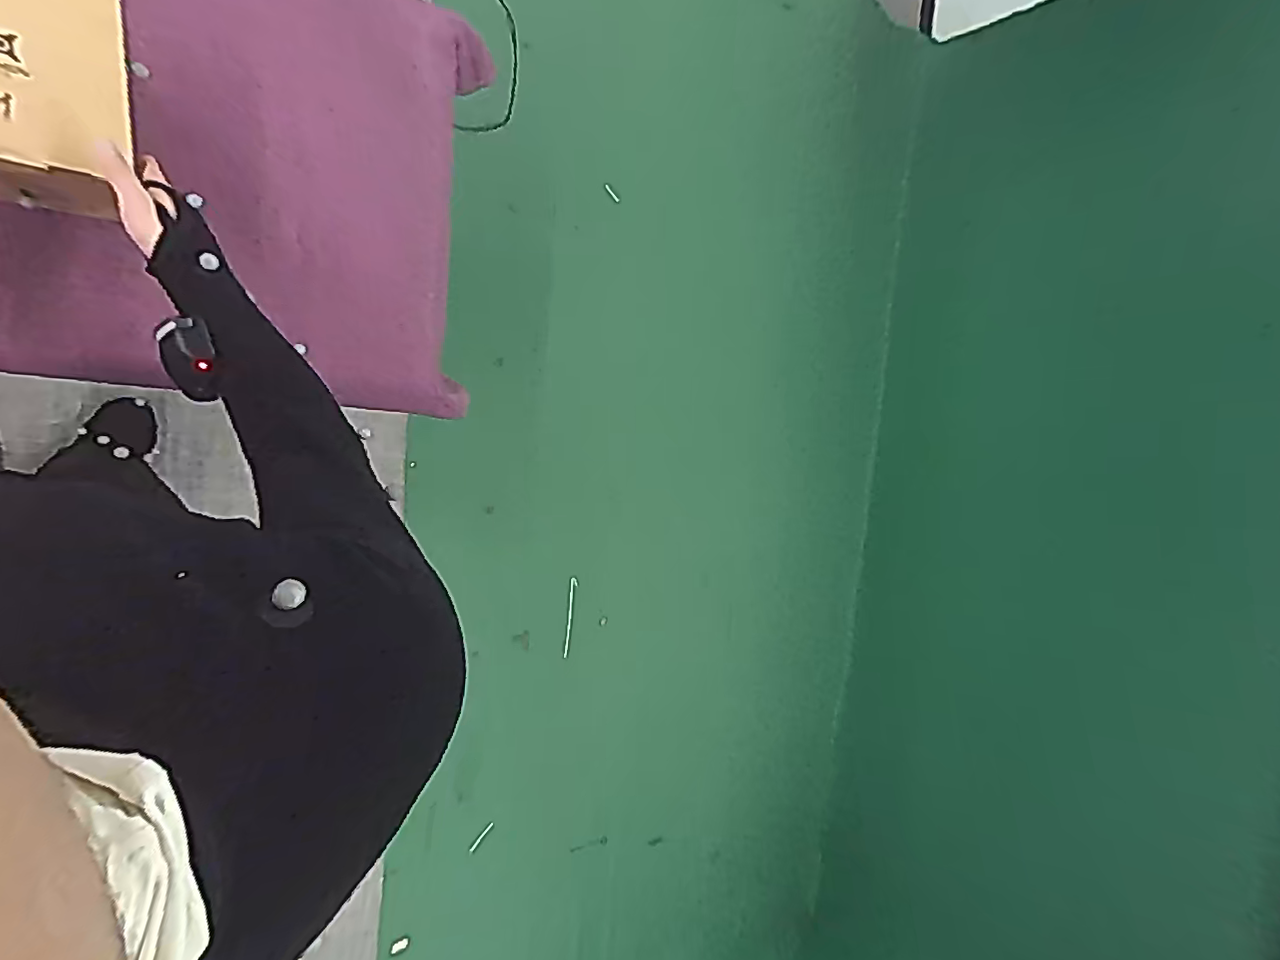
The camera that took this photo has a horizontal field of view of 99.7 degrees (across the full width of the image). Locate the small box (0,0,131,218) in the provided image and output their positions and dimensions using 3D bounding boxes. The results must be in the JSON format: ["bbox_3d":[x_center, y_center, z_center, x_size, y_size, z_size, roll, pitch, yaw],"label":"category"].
[{"bbox_3d":[-0.611,-0.380,0.521,0.168,0.176,0.179,-5,100,-42],"label":"small box"}]
